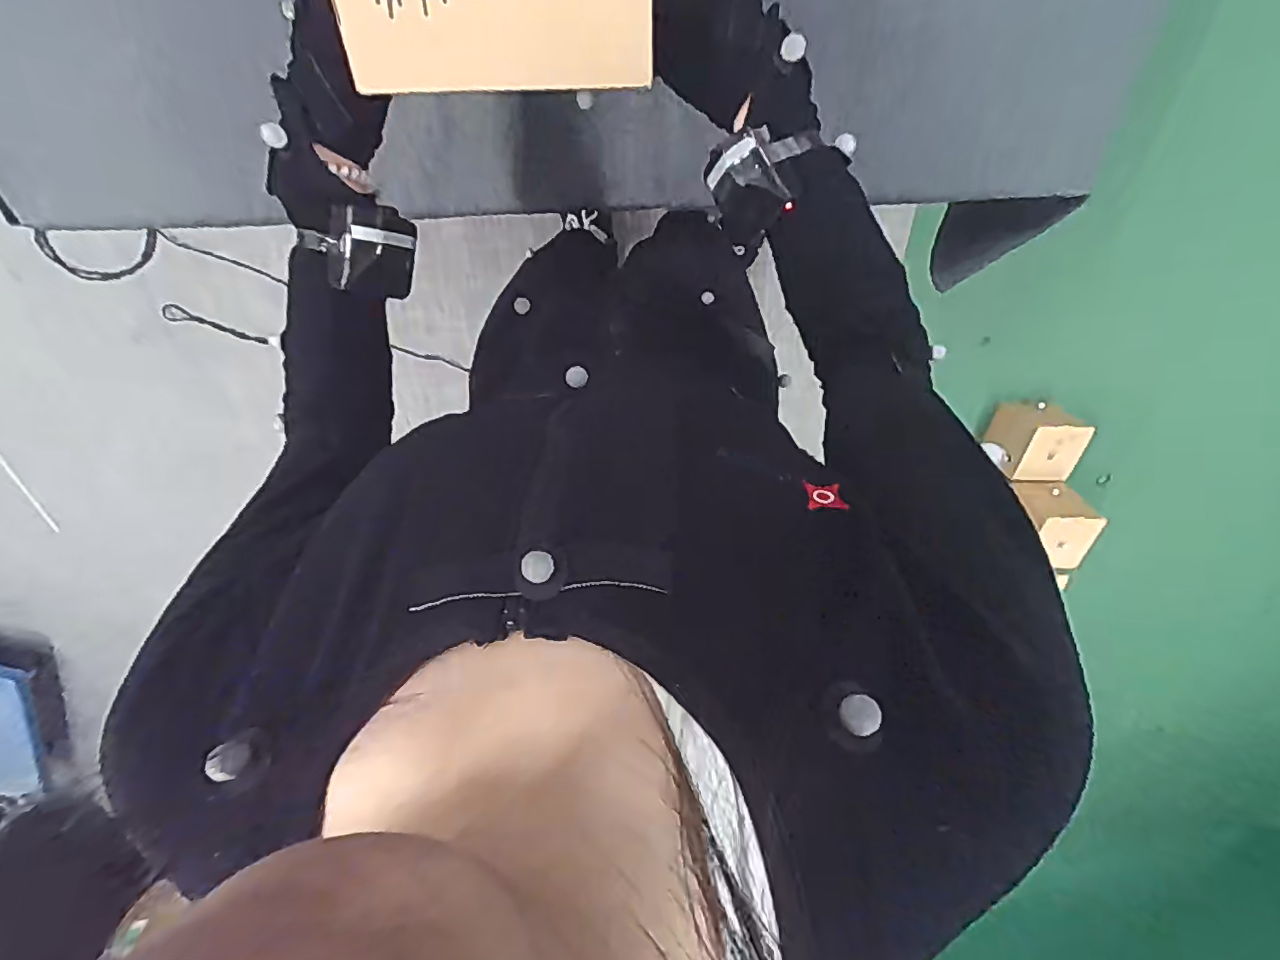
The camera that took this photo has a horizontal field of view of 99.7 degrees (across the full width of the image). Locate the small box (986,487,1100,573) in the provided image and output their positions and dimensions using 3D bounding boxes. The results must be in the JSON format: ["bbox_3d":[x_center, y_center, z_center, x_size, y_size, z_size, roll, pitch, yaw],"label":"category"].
[{"bbox_3d":[1.127,0.141,1.533,0.168,0.176,0.179,3,122,-4],"label":"small box"}]
